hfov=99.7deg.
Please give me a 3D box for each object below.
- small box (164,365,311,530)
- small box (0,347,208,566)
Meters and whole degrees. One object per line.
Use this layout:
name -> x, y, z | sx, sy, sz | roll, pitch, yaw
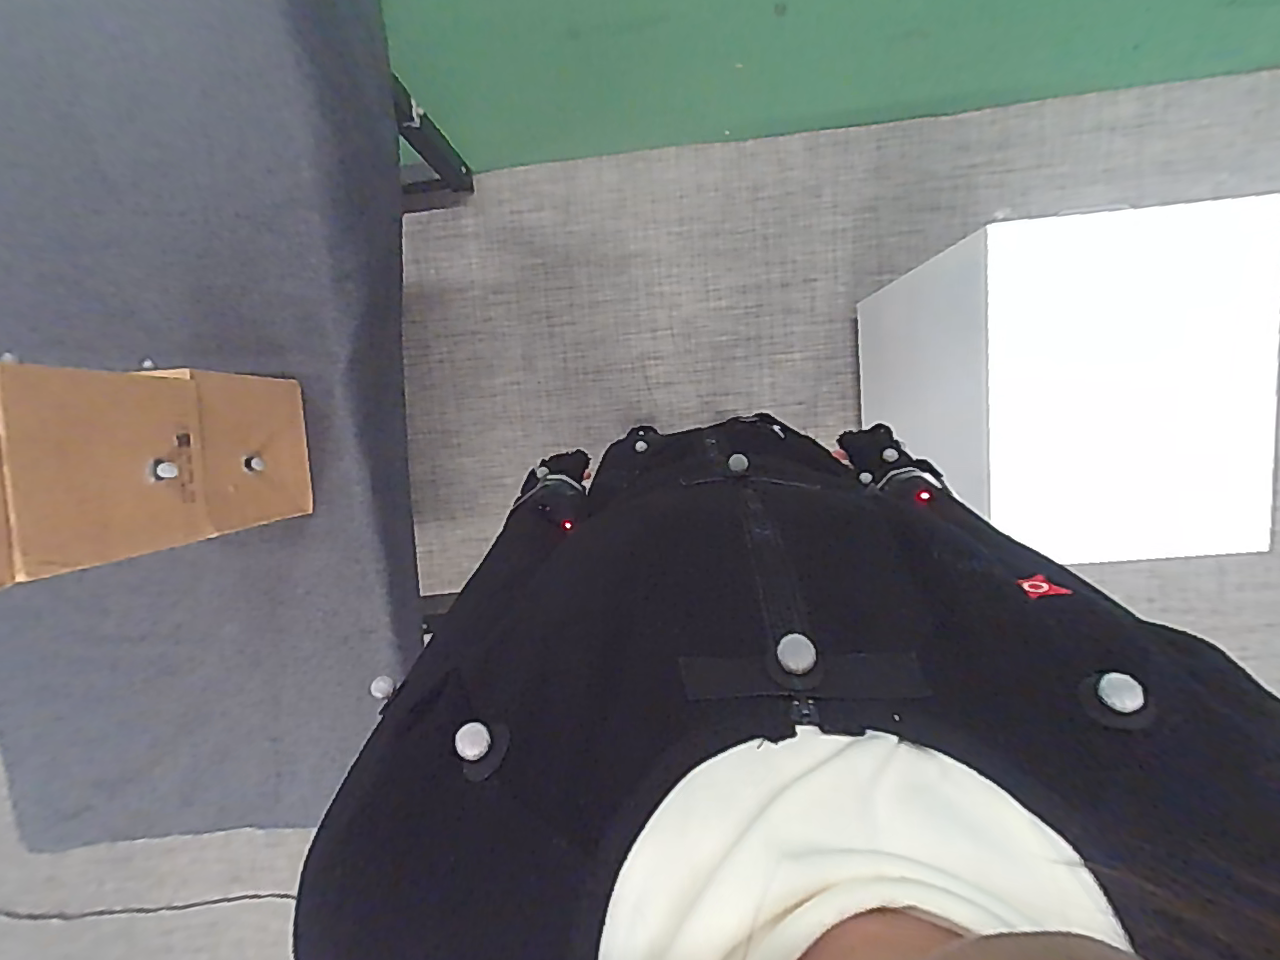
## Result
small box -> -0.530, -0.042, 0.650 | 0.168, 0.176, 0.179 | -2, 97, 4
small box -> -0.546, -0.023, 0.488 | 0.179, 0.176, 0.168 | -2, 96, 6
